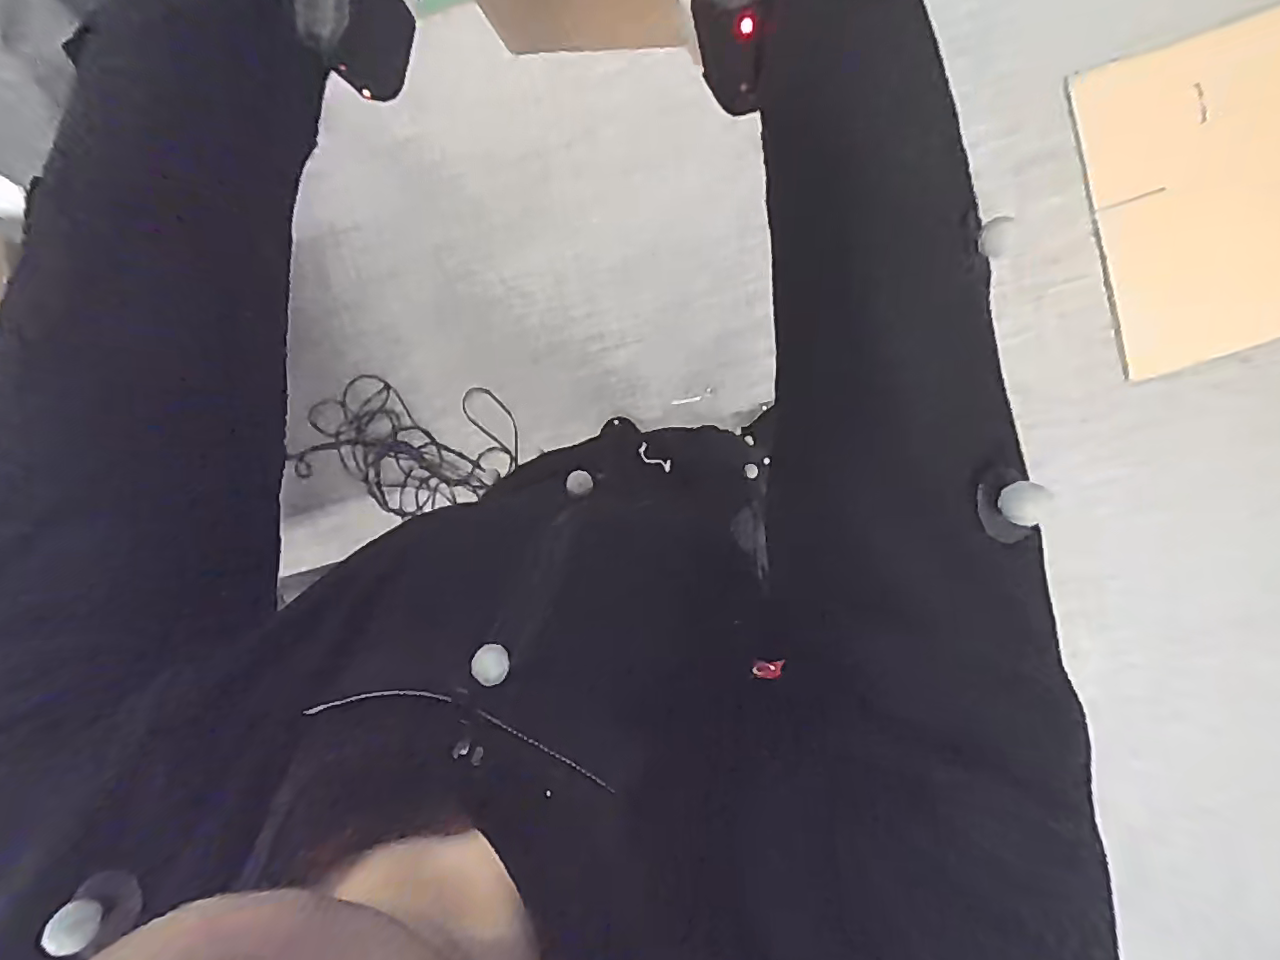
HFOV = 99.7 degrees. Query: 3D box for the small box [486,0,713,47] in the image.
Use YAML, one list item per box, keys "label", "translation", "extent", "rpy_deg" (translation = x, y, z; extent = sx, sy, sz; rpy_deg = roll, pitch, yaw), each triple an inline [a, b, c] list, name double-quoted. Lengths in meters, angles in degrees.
- label: "small box"
  translation: [-0.033, -0.419, 0.356]
  extent: [0.179, 0.176, 0.168]
  rpy_deg: [0, 107, 3]
